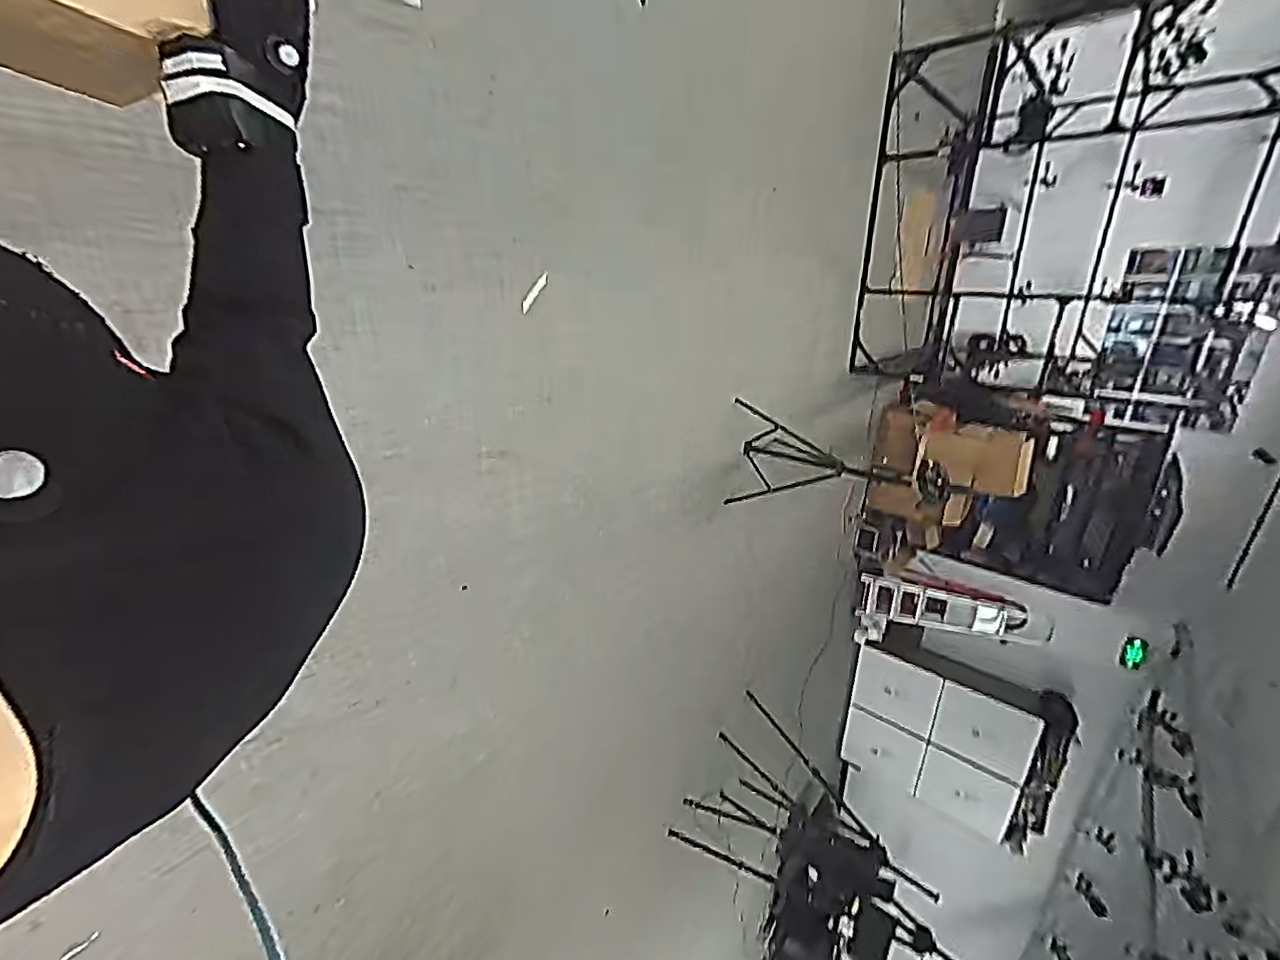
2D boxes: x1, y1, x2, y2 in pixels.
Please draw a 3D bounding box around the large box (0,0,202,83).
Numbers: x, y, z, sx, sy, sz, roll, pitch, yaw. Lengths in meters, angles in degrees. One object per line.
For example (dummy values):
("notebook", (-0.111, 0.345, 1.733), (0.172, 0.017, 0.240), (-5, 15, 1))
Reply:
("large box", (-0.542, -0.494, 0.295), (0.408, 0.320, 0.320), (-9, 116, -52))
